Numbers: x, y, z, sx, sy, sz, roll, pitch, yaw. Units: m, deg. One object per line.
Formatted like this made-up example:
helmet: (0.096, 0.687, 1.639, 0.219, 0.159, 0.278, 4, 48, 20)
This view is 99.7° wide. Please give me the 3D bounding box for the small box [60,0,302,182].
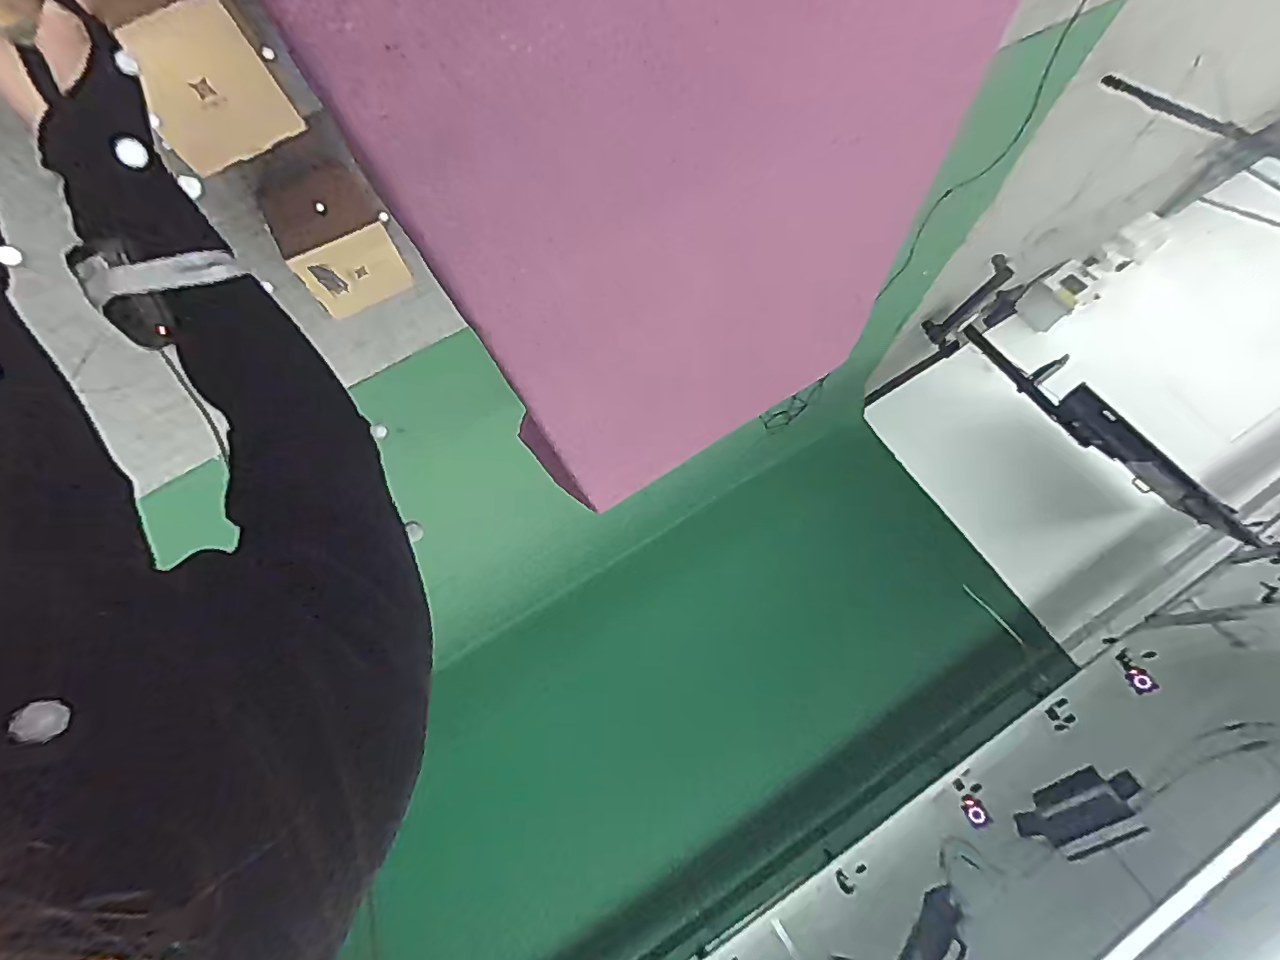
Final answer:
small box: (-0.606, -0.555, 0.722, 0.168, 0.176, 0.179, -31, 161, -6)
